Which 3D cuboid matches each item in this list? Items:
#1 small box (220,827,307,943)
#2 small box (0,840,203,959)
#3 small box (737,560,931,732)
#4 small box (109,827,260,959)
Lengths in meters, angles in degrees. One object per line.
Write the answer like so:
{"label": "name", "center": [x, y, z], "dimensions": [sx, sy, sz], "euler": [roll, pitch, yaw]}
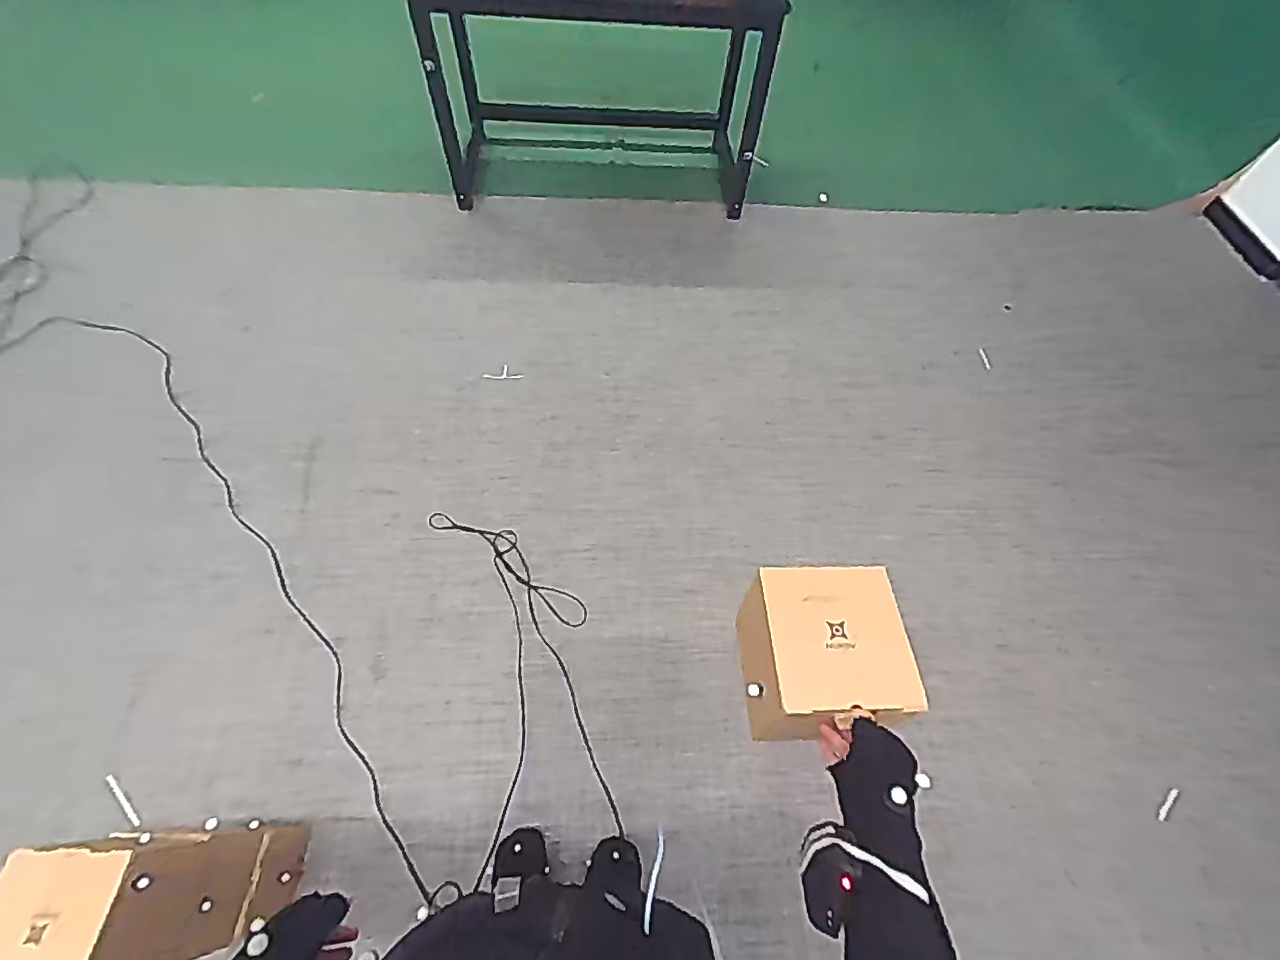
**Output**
{"label": "small box", "center": [-0.797, 0.784, 1.062], "dimensions": [0.179, 0.176, 0.168], "euler": [2, 60, -3]}
{"label": "small box", "center": [-0.786, 0.629, 0.774], "dimensions": [0.168, 0.176, 0.179], "euler": [2, 59, -2]}
{"label": "small box", "center": [0.227, 0.217, 0.688], "dimensions": [0.168, 0.176, 0.179], "euler": [0, 55, -4]}
{"label": "small box", "center": [-0.795, 0.702, 0.919], "dimensions": [0.168, 0.176, 0.179], "euler": [3, 59, -2]}
